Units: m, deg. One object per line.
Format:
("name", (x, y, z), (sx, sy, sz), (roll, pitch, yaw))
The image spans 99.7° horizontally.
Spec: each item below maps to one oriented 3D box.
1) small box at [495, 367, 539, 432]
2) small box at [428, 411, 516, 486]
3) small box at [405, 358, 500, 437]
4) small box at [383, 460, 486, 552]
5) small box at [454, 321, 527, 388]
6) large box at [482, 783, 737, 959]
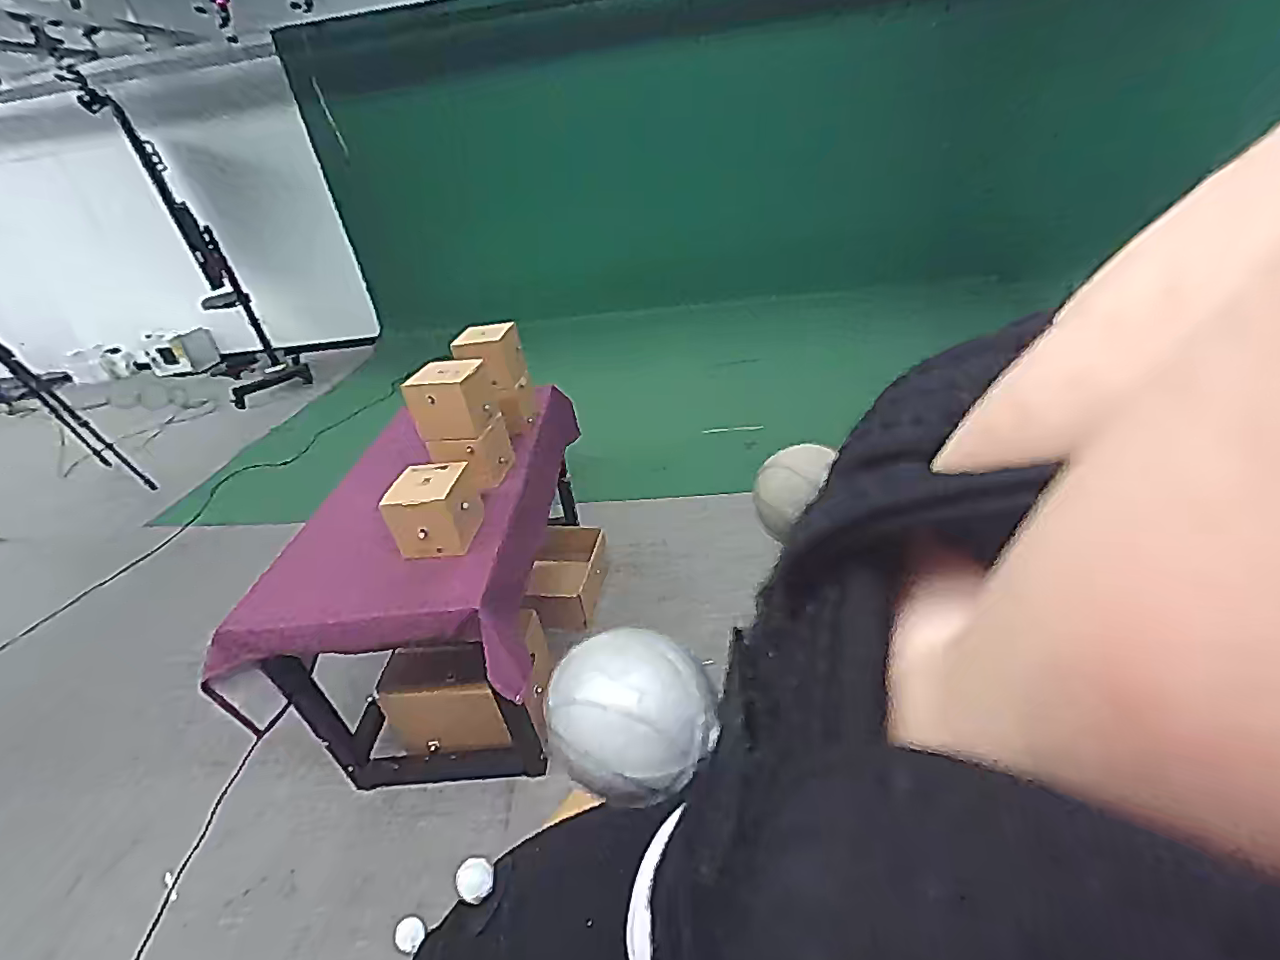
("small box", (-0.464, -0.275, 1.876), (0.179, 0.176, 0.168), (-5, 34, 7))
("small box", (-0.493, -0.093, 1.612), (0.179, 0.176, 0.168), (-1, 34, 11))
("small box", (-0.520, -0.230, 1.524), (0.179, 0.176, 0.168), (0, 35, 12))
("small box", (-0.506, 0.070, 1.363), (0.168, 0.176, 0.179), (-3, 34, 7))
("small box", (-0.487, -0.412, 1.790), (0.168, 0.176, 0.179), (-4, 34, 9))
("large box", (-0.047, 0.950, 1.135), (0.408, 0.320, 0.320), (18, 40, 35))
